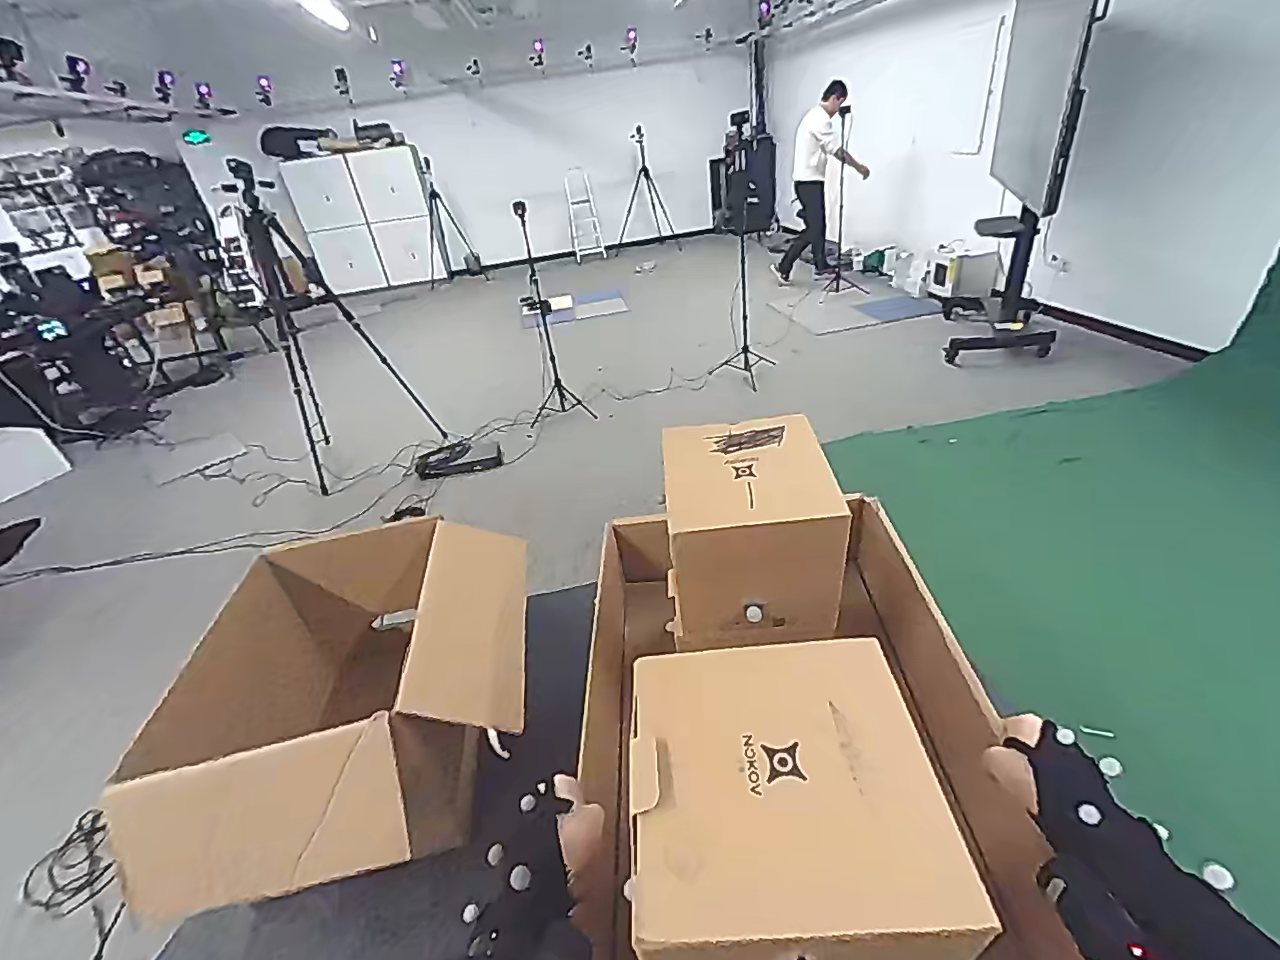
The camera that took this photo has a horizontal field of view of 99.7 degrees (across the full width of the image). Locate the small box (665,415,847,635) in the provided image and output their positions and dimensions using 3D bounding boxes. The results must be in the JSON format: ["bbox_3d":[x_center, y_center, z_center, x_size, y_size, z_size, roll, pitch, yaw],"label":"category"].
[{"bbox_3d":[0.116,0.049,0.605,0.168,0.176,0.179,-5,39,5],"label":"small box"}]

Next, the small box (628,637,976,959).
[{"bbox_3d":[0.090,0.234,0.379,0.179,0.176,0.168,-6,38,3],"label":"small box"}]
